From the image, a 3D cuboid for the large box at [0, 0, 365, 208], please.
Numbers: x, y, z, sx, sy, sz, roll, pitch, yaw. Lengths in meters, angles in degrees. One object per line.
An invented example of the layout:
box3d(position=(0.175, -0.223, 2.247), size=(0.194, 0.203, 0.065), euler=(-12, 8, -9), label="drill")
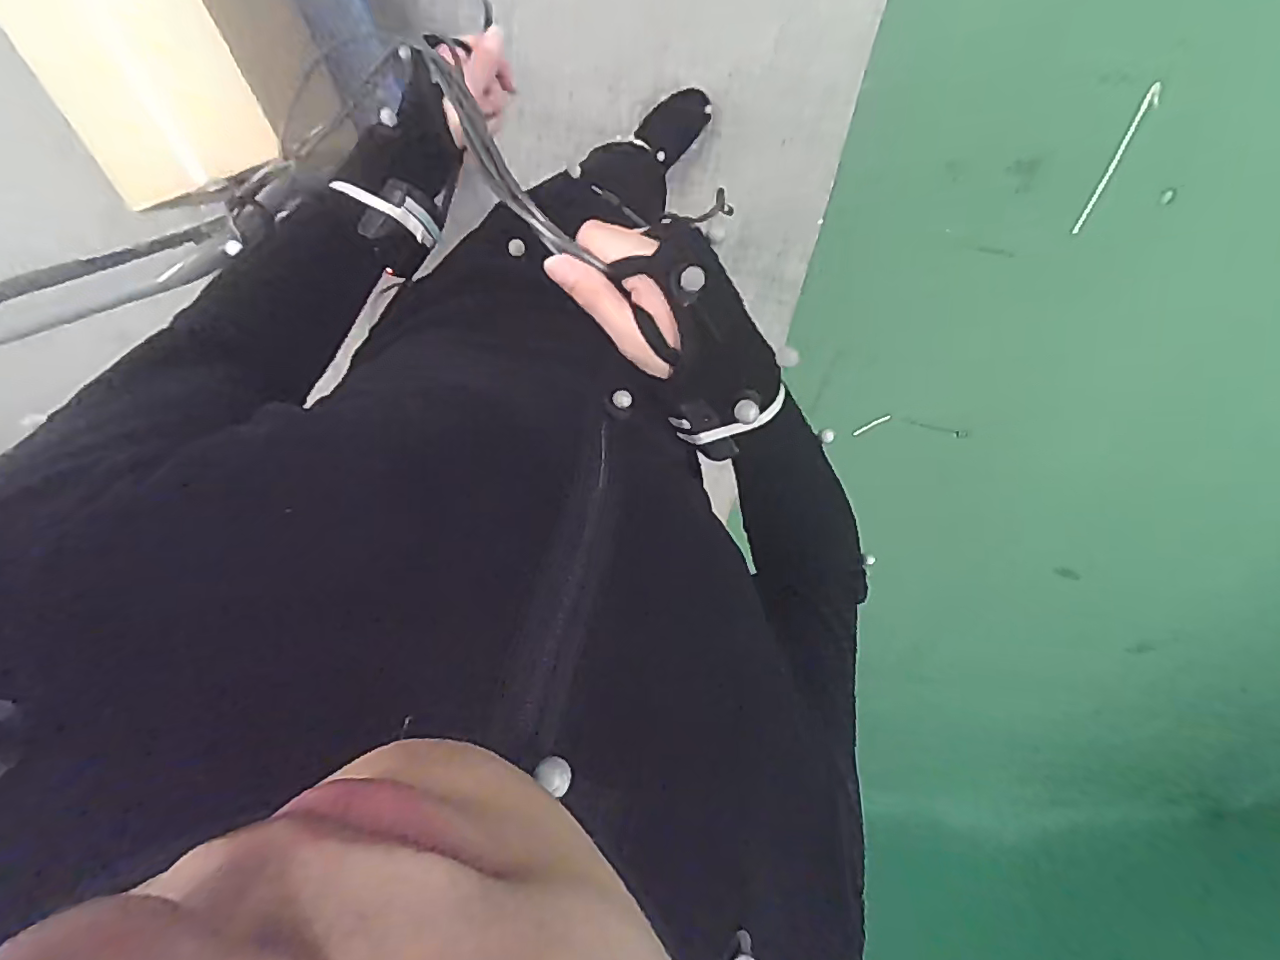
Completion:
box3d(position=(-0.776, -0.741, 0.937), size=(0.320, 0.320, 0.408), euler=(-14, 120, 9), label="large box")
